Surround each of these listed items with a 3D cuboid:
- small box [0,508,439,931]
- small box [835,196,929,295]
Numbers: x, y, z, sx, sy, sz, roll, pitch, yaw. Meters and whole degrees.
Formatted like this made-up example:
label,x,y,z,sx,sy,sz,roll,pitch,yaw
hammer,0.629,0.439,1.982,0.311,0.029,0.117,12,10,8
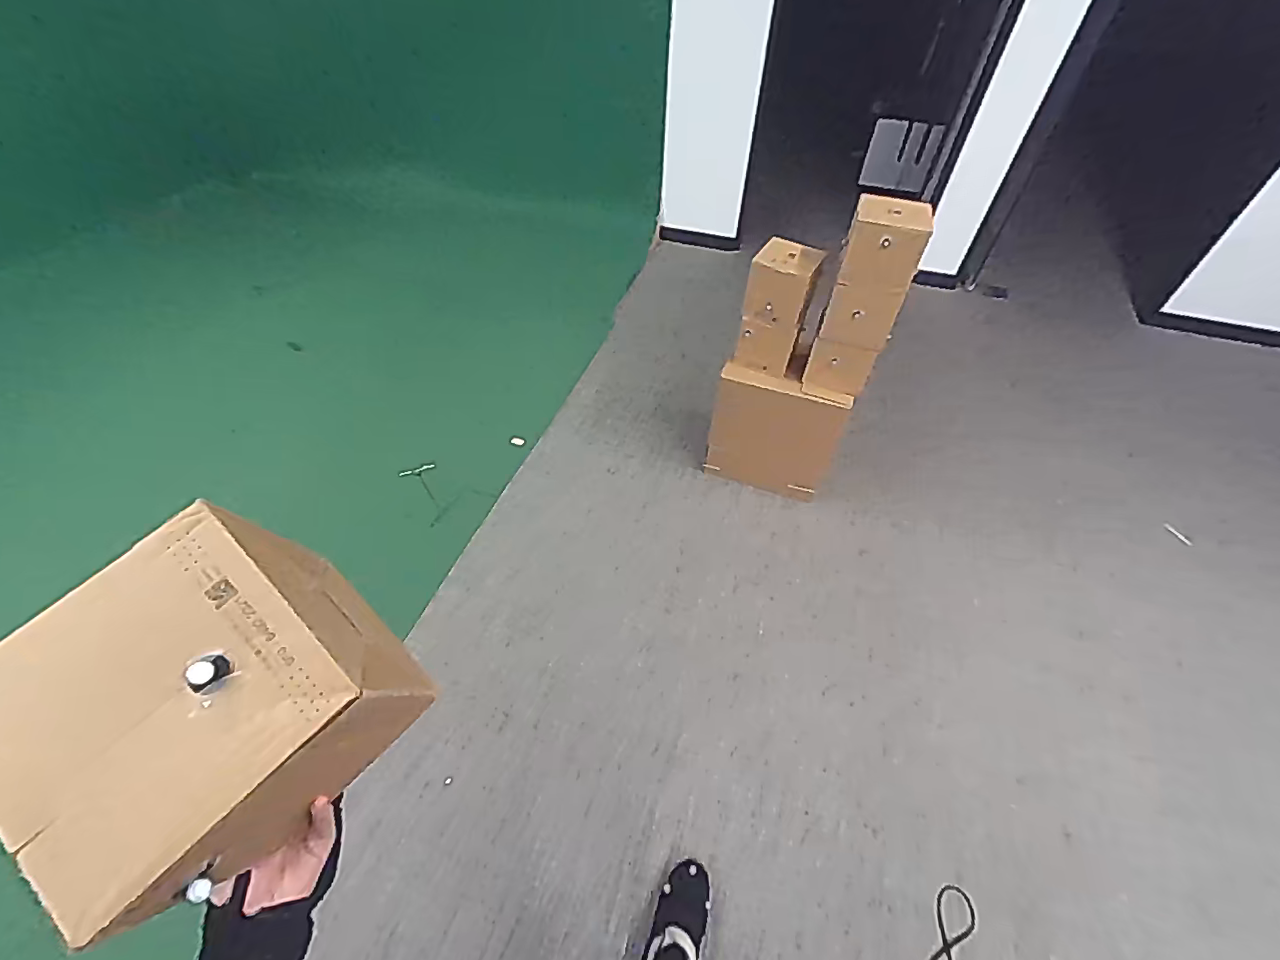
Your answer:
label,x,y,z,sx,sy,sz,roll,pitch,yaw
small box,-0.275,0.150,0.387,0.168,0.179,0.176,42,71,13
small box,0.612,-0.596,1.379,0.179,0.176,0.168,15,51,10
